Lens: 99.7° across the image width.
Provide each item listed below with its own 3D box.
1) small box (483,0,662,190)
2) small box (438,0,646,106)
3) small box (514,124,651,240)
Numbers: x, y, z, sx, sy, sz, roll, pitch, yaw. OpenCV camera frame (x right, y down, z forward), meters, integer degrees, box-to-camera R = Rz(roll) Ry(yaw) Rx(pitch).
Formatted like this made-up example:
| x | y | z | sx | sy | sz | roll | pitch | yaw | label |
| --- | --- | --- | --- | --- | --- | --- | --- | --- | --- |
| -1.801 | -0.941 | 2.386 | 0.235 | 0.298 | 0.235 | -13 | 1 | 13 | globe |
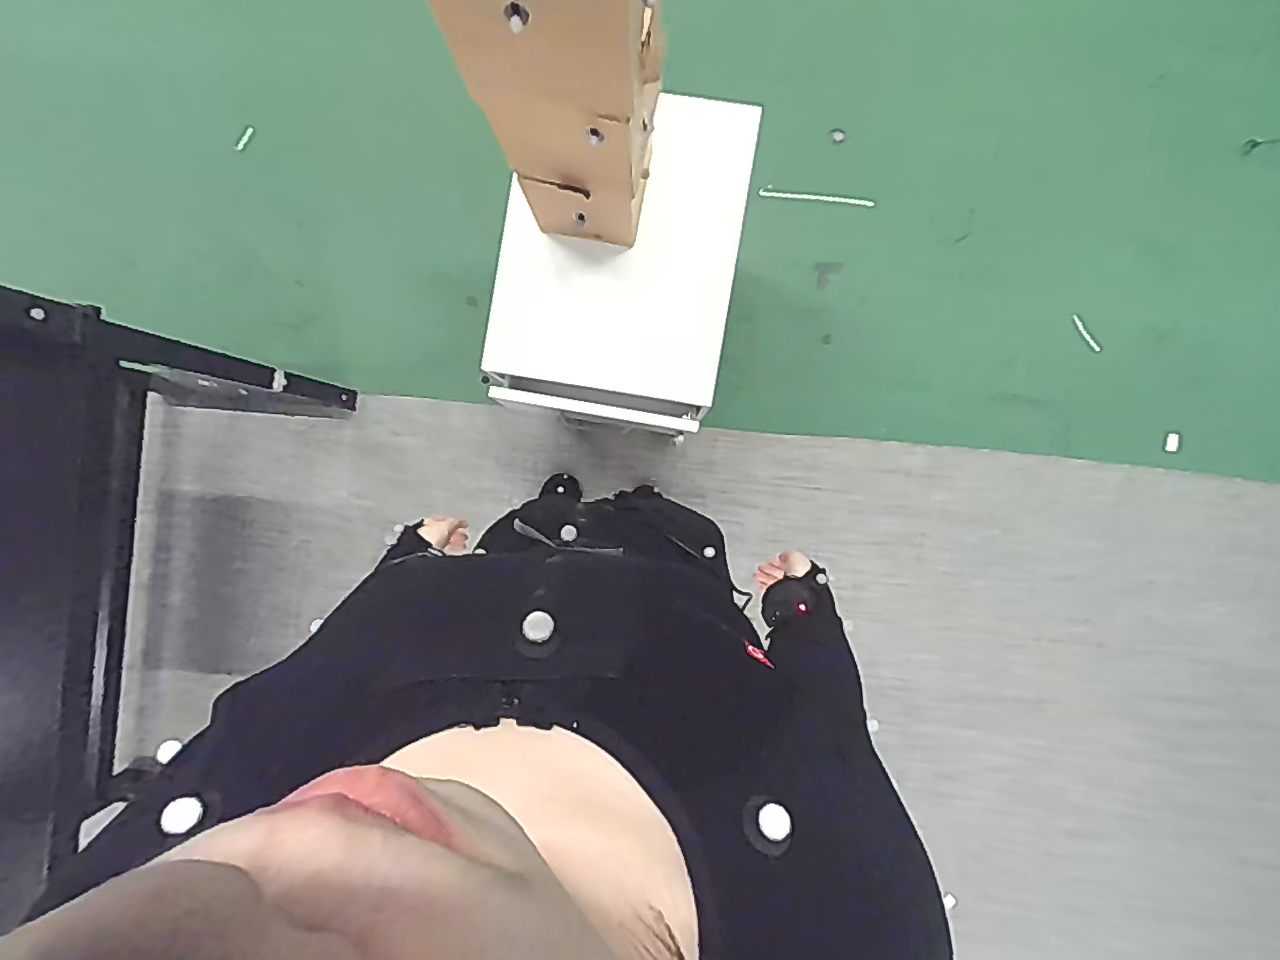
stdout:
| x | y | z | sx | sy | sz | roll | pitch | yaw | label |
| --- | --- | --- | --- | --- | --- | --- | --- | --- | --- |
| -0.077 | -0.481 | 0.650 | 0.179 | 0.176 | 0.168 | 13 | 91 | 0 | small box |
| -0.086 | -0.474 | 0.486 | 0.179 | 0.176 | 0.168 | 6 | 92 | 1 | small box |
| -0.076 | -0.487 | 0.813 | 0.168 | 0.176 | 0.179 | 10 | 92 | 1 | small box |
